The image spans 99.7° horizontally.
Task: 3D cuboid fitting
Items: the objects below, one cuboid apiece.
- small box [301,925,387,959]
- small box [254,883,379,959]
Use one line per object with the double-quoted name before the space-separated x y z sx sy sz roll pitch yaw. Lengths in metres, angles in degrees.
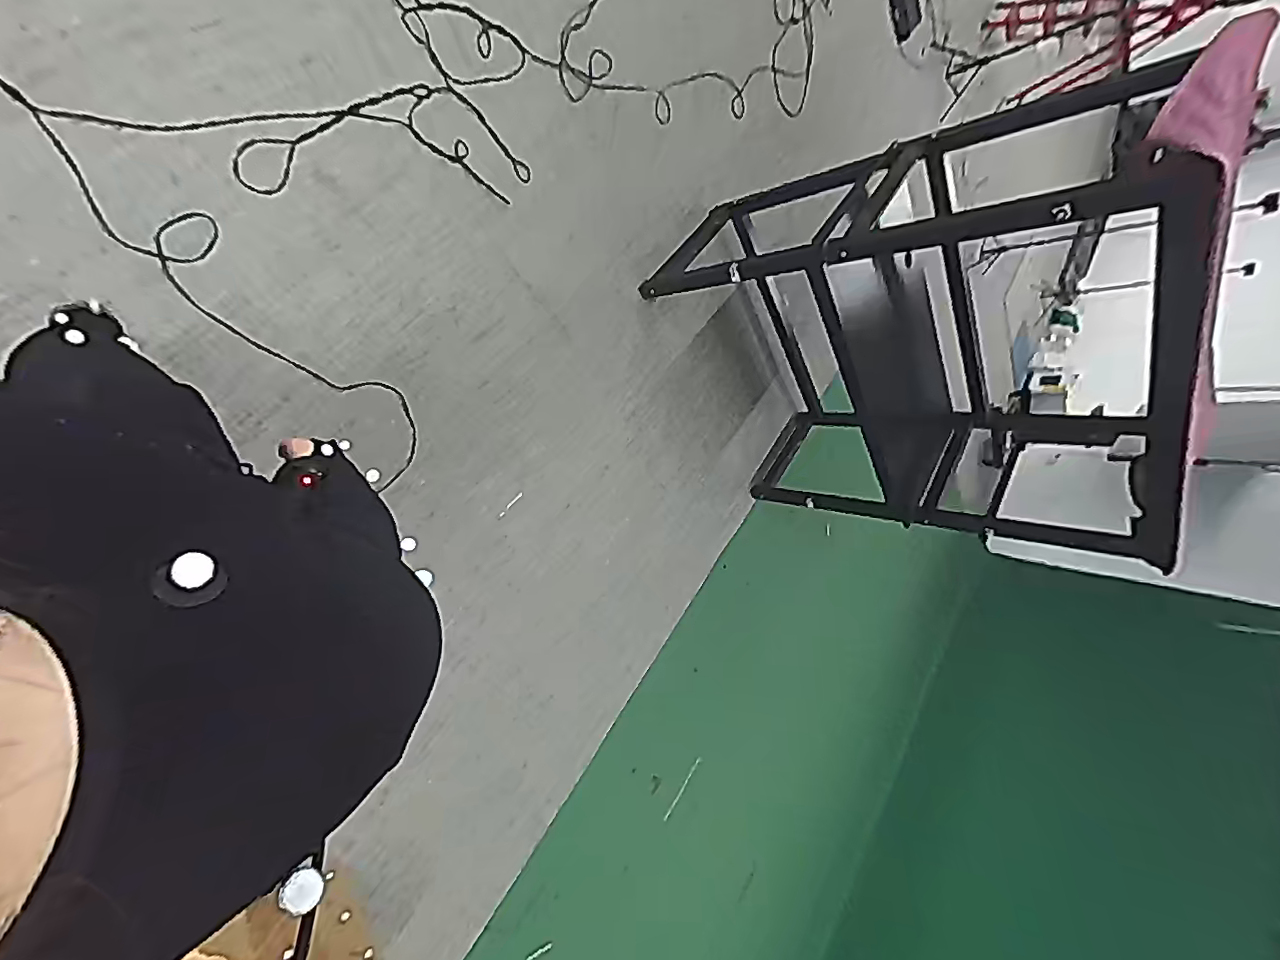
"small box" -0.644 1.103 1.142 0.179 0.176 0.168 -54 131 -23
"small box" -0.757 1.088 1.258 0.179 0.176 0.168 -55 130 -23
